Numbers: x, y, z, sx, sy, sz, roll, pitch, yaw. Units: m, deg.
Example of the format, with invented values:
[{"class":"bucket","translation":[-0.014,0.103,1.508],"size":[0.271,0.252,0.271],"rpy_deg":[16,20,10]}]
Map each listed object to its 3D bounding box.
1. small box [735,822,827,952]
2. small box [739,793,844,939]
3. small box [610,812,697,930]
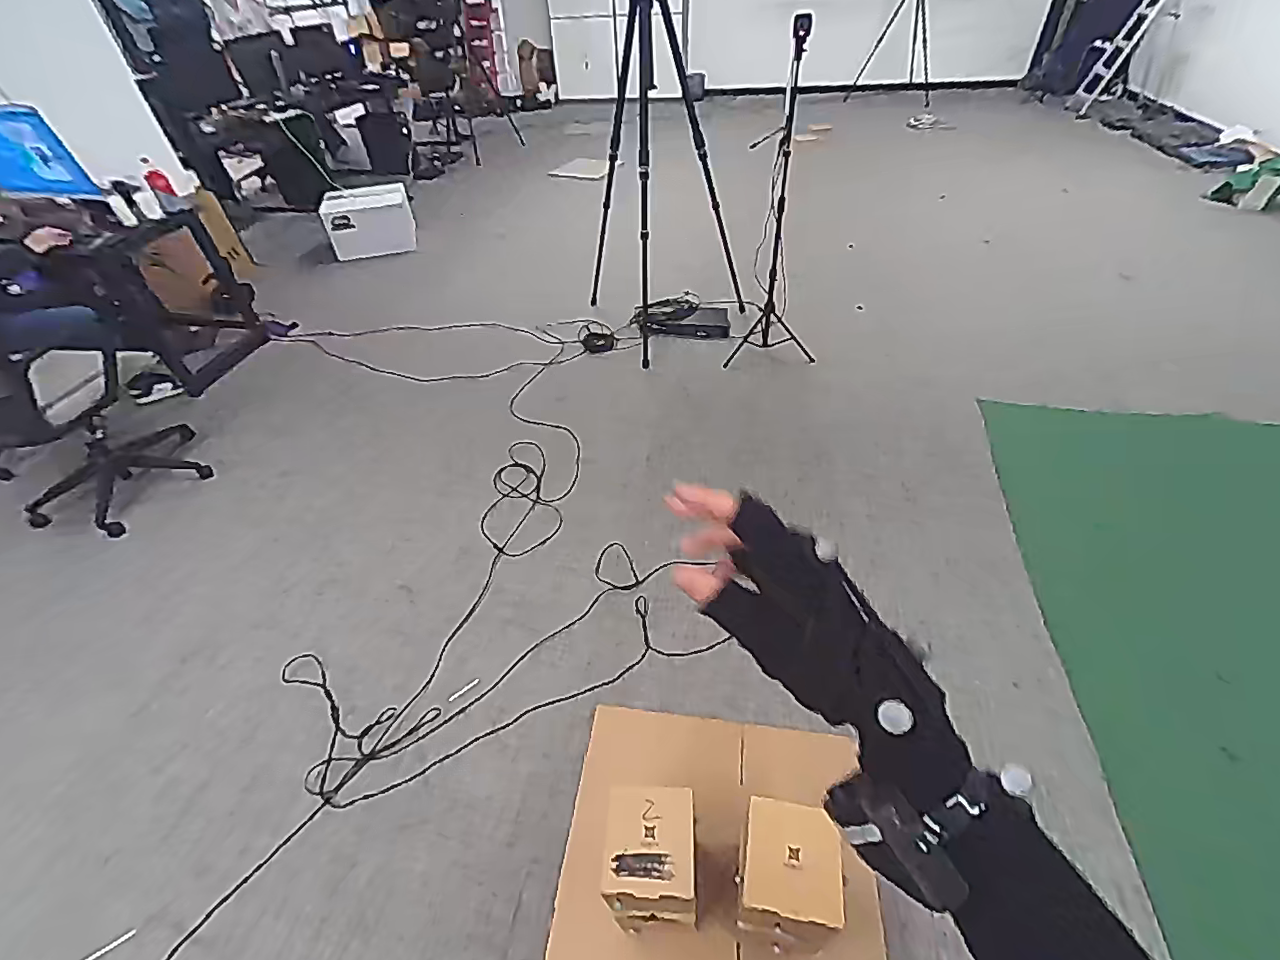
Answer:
[{"class":"small box","translation":[0.285,0.843,1.121],"size":[0.168,0.176,0.179],"rpy_deg":[2,45,10]},{"class":"small box","translation":[0.277,0.722,1.013],"size":[0.168,0.176,0.179],"rpy_deg":[5,46,11]},{"class":"small box","translation":[0.036,0.833,1.150],"size":[0.168,0.176,0.179],"rpy_deg":[0,44,6]}]
